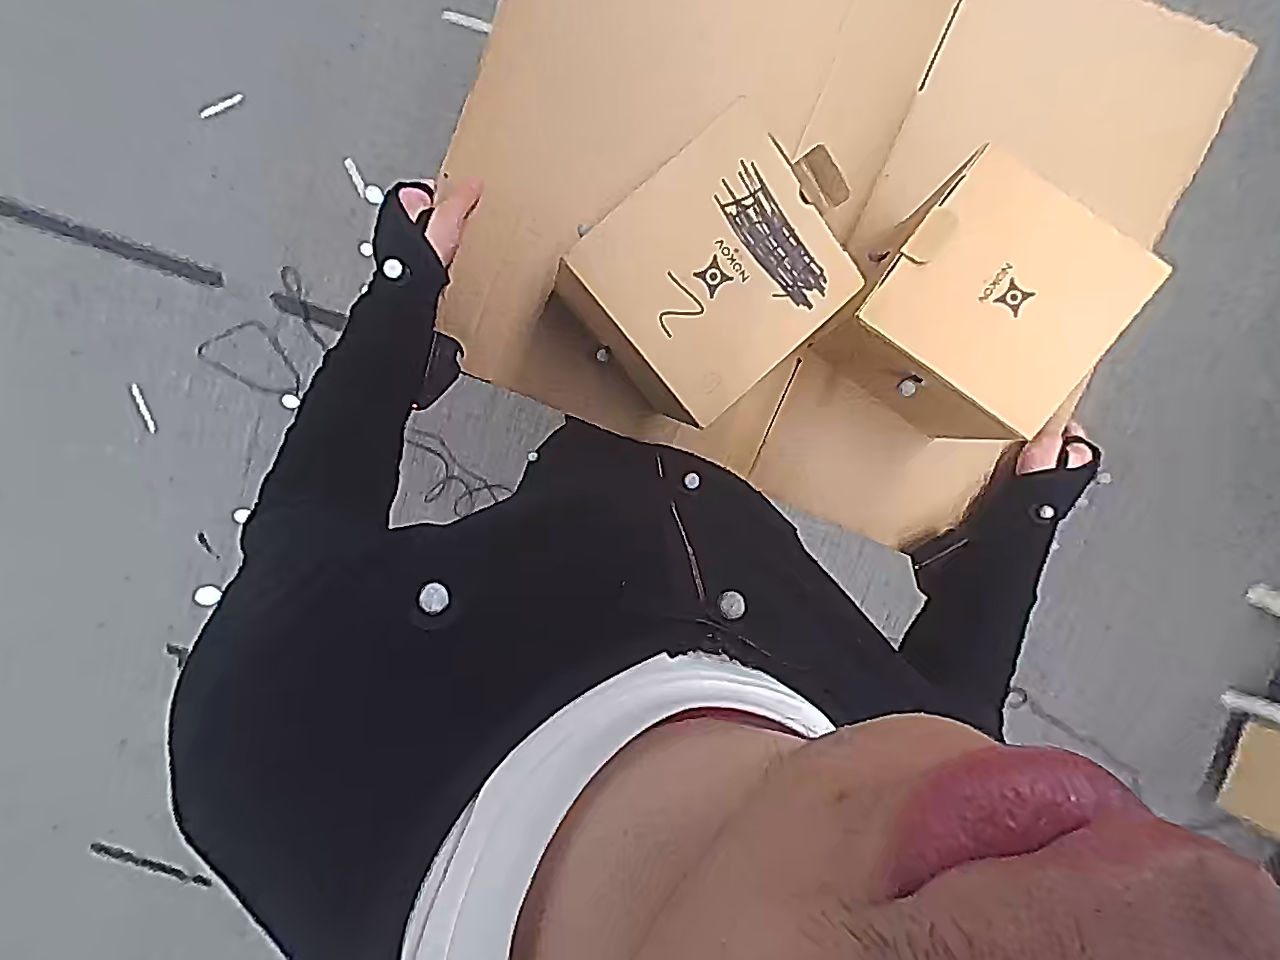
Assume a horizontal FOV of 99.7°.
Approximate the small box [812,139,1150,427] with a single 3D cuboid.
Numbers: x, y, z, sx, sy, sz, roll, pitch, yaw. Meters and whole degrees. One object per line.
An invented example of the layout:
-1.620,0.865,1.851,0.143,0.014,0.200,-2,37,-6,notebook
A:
0.295,-0.167,0.517,0.179,0.176,0.168,36,97,2,small box
